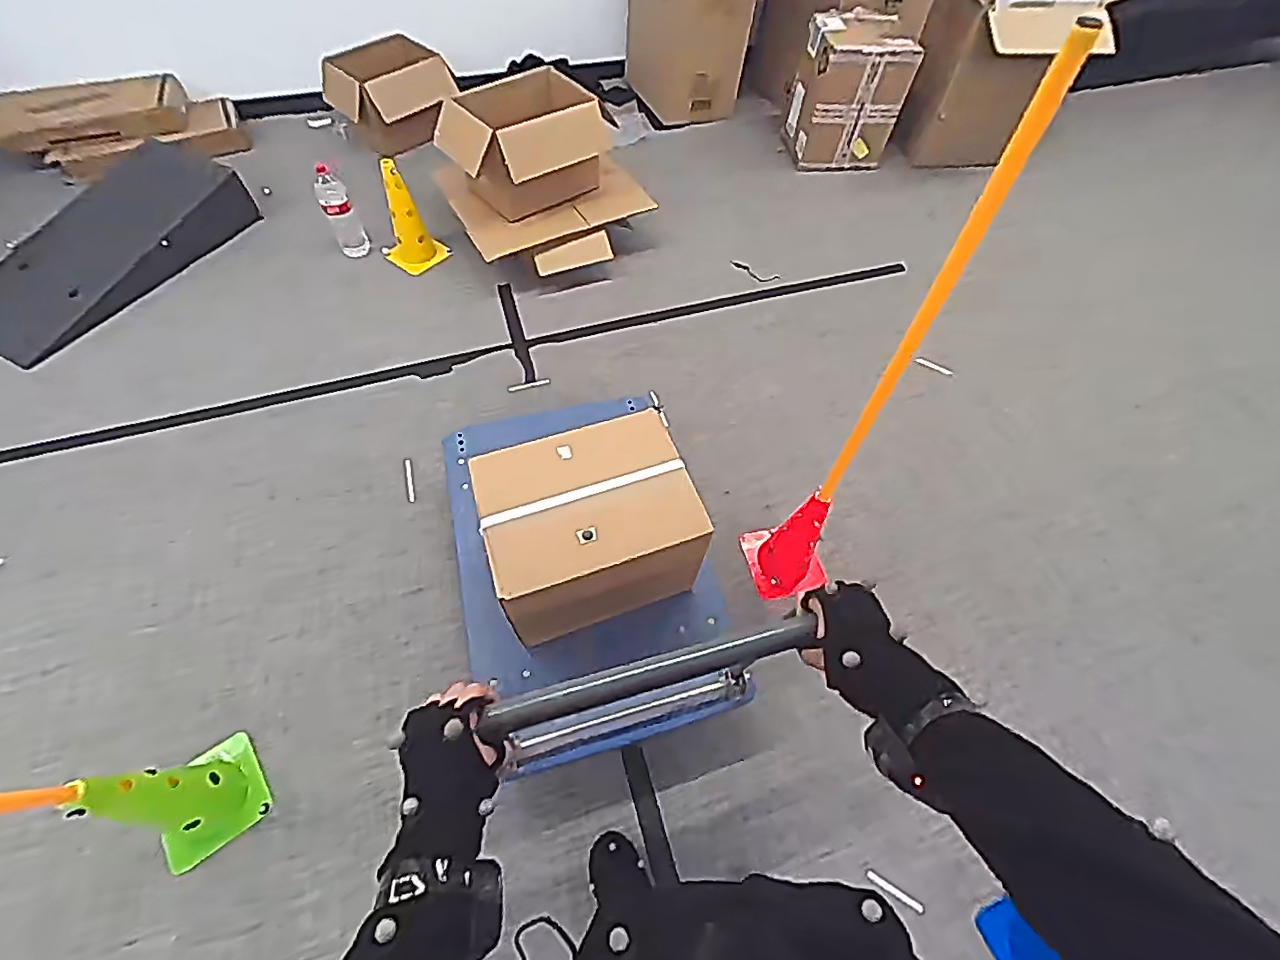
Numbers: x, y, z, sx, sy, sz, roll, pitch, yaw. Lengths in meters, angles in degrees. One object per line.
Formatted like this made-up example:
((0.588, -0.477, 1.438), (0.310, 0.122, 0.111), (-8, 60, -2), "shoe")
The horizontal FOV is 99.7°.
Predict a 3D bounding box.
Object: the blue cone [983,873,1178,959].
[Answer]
((0.810, 0.836, 0.936), (0.193, 0.380, 0.192), (-18, 59, -14), "blue cone")

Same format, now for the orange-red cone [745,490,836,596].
((0.410, 0.128, 1.345), (0.199, 0.360, 0.198), (-8, 59, -9), "orange-red cone")
